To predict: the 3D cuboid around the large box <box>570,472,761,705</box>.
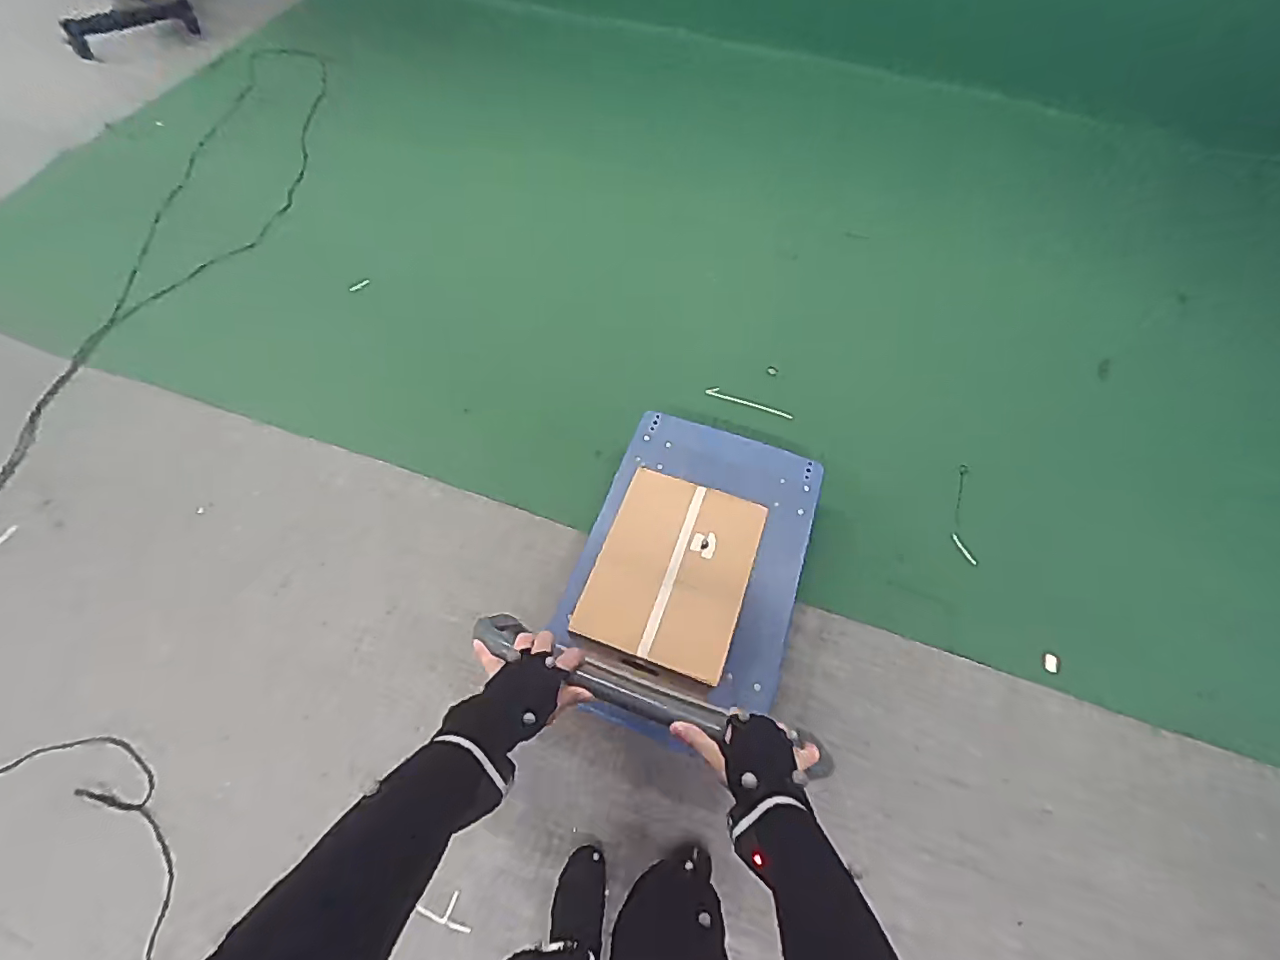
[{"bbox_3d":[0.064,0.261,1.271,0.320,0.320,0.408,18,61,8],"label":"large box"}]
